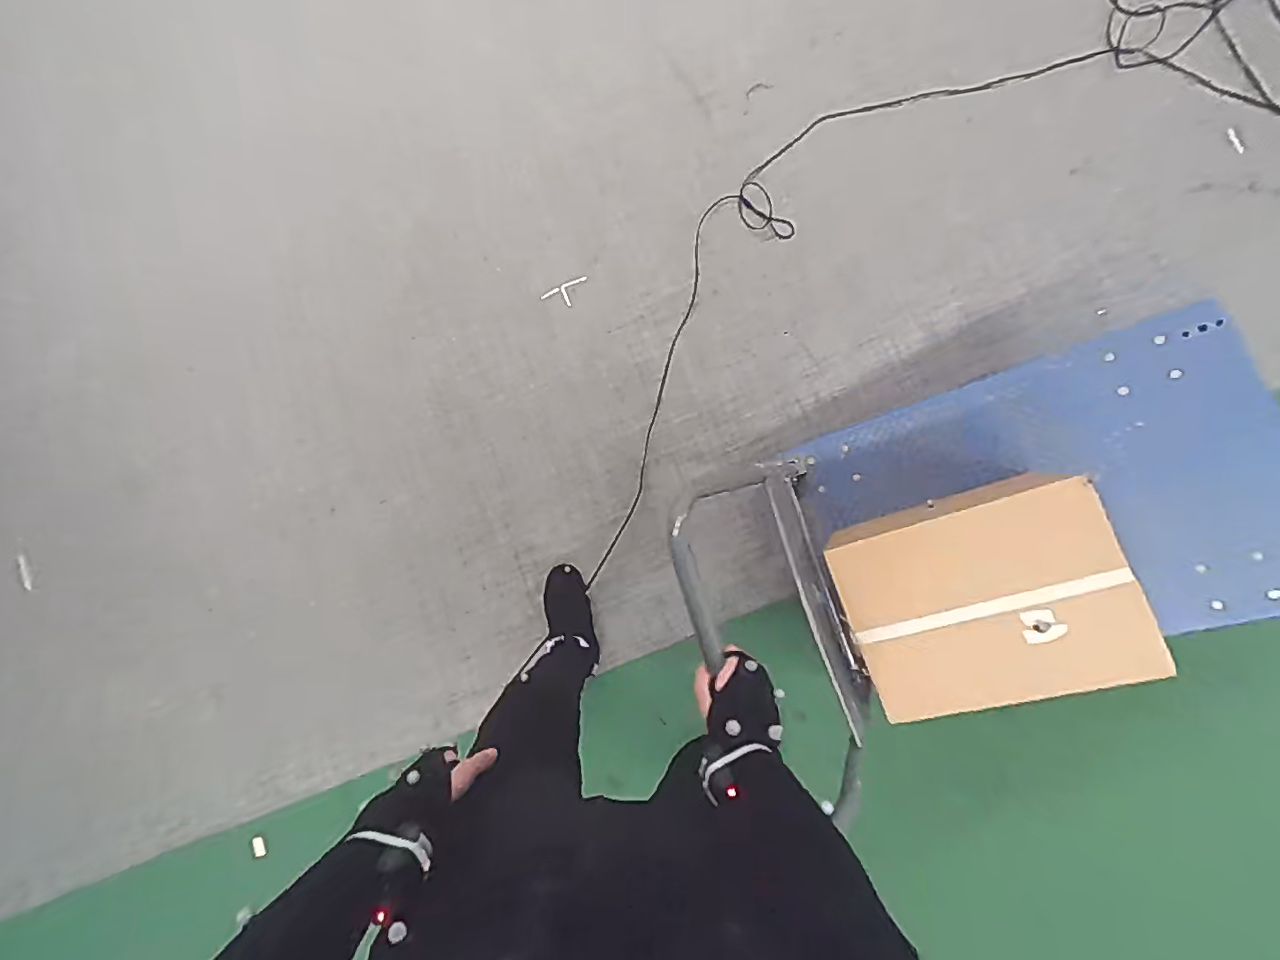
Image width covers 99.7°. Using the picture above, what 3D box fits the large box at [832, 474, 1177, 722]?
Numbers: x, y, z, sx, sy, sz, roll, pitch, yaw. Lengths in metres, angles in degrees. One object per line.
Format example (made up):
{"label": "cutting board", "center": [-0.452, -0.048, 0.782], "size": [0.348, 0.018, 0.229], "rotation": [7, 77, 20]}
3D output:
{"label": "large box", "center": [0.614, 0.202, 1.006], "size": [0.408, 0.320, 0.320], "rotation": [-21, 83, 21]}
